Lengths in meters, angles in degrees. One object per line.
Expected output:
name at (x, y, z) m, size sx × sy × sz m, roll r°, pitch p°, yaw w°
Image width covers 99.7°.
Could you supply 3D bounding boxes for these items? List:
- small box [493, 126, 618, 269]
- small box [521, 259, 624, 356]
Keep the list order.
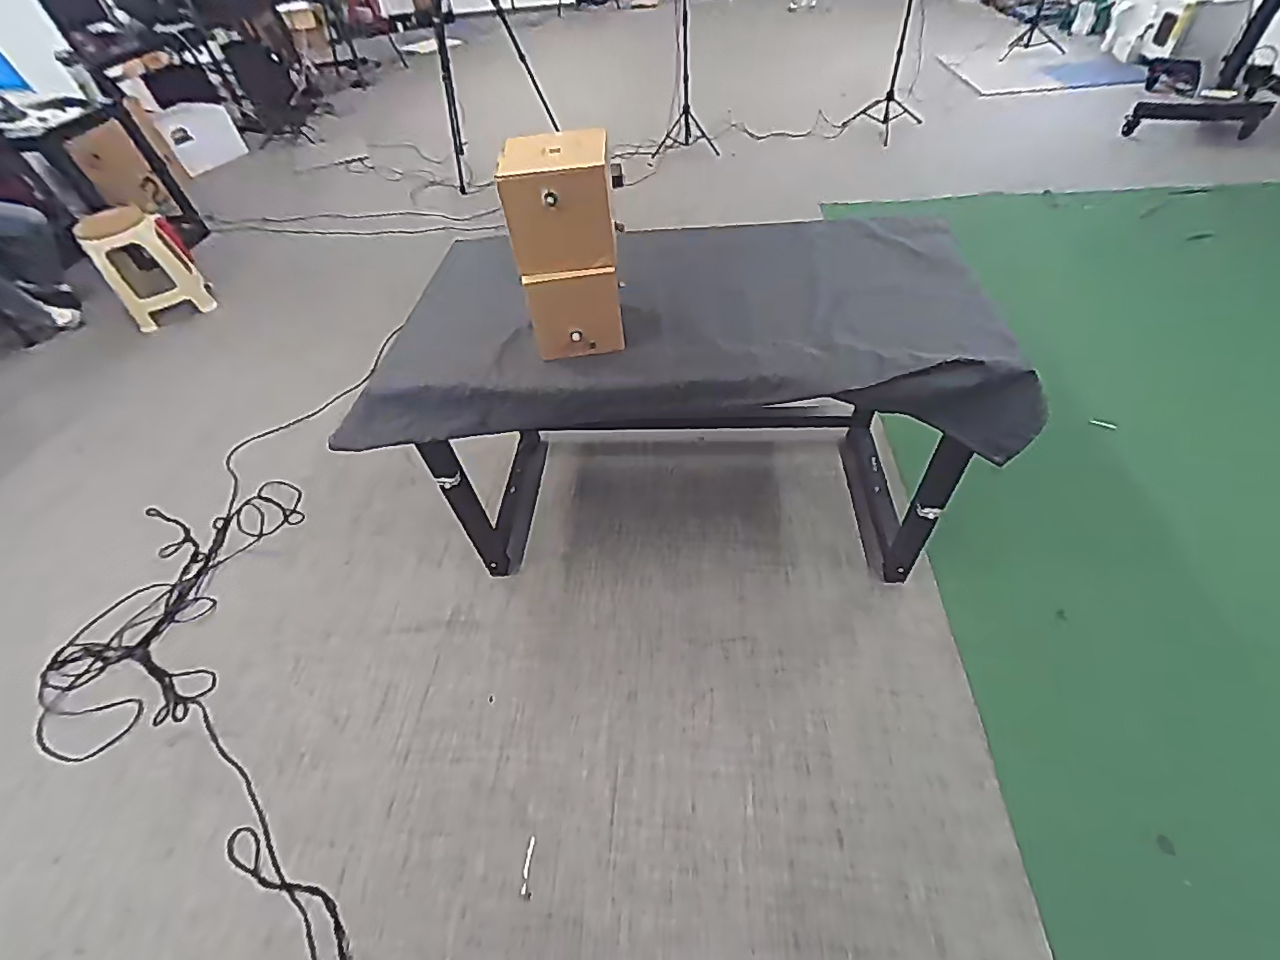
small box at (-0.134, -0.480, 0.931) m, size 0.179 × 0.176 × 0.168 m, roll -4°, pitch 51°, yaw 2°
small box at (-0.126, -0.363, 1.044) m, size 0.168 × 0.176 × 0.179 m, roll -8°, pitch 50°, yaw 0°
